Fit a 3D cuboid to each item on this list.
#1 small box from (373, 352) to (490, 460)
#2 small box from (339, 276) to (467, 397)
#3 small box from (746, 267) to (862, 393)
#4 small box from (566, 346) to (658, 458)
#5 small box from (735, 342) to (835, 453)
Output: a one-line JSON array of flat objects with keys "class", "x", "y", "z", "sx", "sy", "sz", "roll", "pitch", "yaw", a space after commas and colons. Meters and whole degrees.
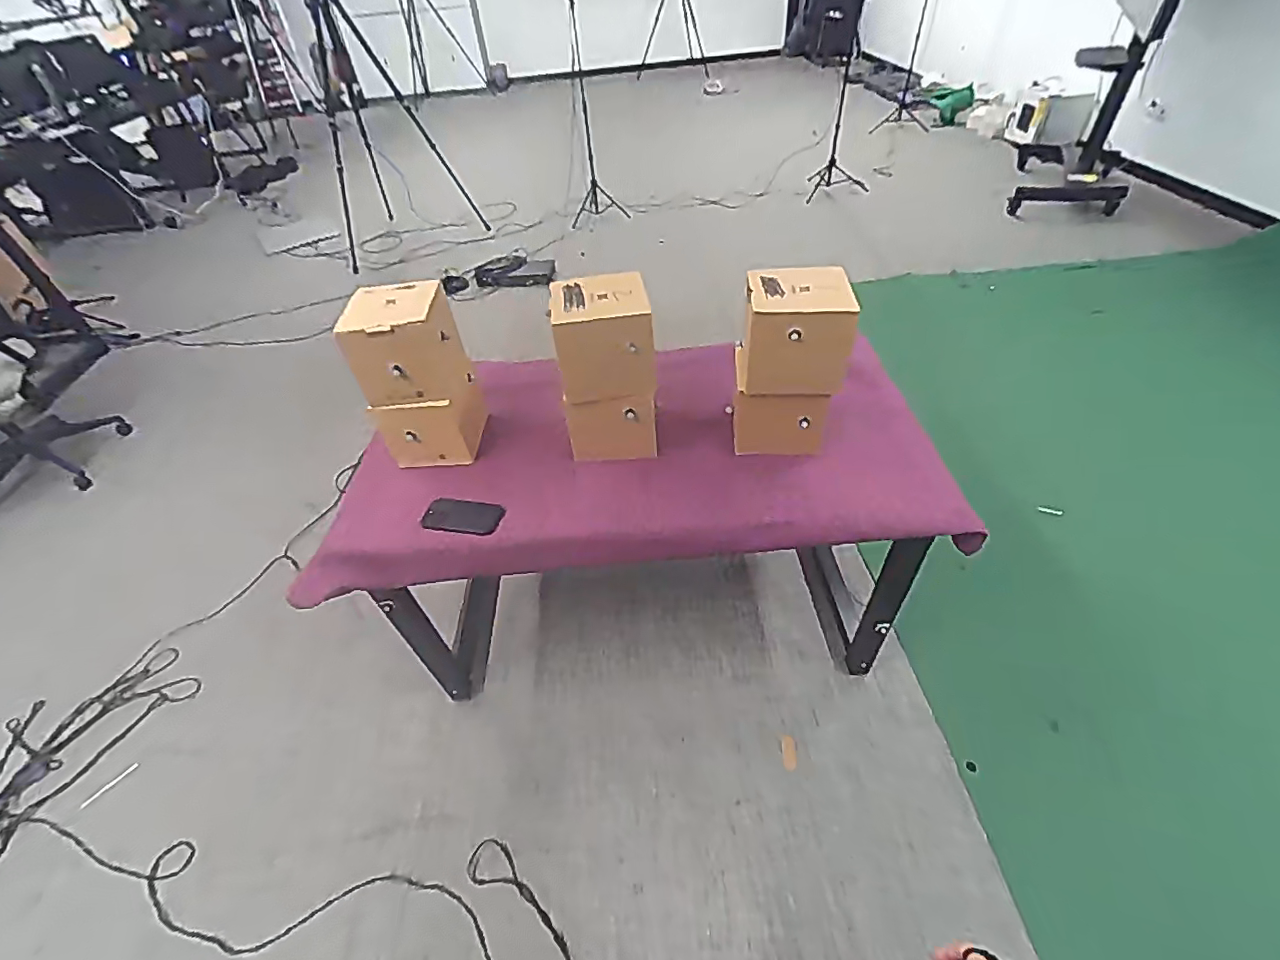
[{"class": "small box", "x": -0.440, "y": -0.156, "z": 1.177, "sx": 0.168, "sy": 0.176, "sz": 0.179, "roll": -3, "pitch": 45, "yaw": 3}, {"class": "small box", "x": -0.452, "y": -0.277, "z": 1.065, "sx": 0.168, "sy": 0.176, "sz": 0.179, "roll": -6, "pitch": 46, "yaw": -1}, {"class": "small box", "x": 0.286, "y": -0.273, "z": 0.991, "sx": 0.179, "sy": 0.176, "sz": 0.168, "roll": 2, "pitch": 45, "yaw": 6}, {"class": "small box", "x": -0.051, "y": -0.162, "z": 1.143, "sx": 0.179, "sy": 0.176, "sz": 0.168, "roll": -3, "pitch": 45, "yaw": 3}, {"class": "small box", "x": 0.290, "y": -0.169, "z": 1.119, "sx": 0.179, "sy": 0.176, "sz": 0.168, "roll": 1, "pitch": 45, "yaw": 8}]
